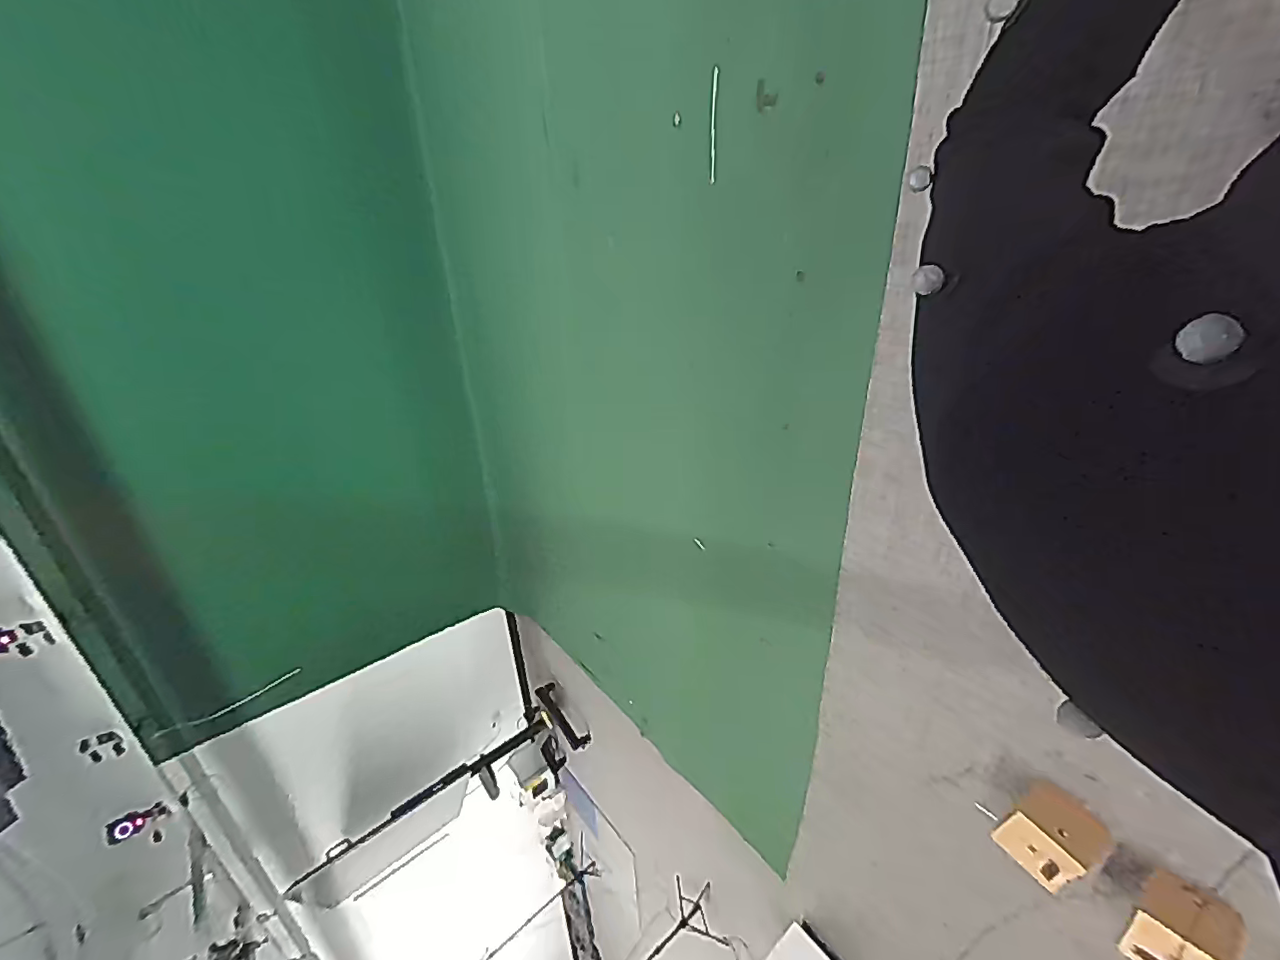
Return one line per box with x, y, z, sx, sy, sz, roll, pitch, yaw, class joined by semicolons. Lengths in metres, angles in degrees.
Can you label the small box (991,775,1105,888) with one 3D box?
1.140;0.974;1.508;0.179;0.176;0.168;42;137;36;small box
